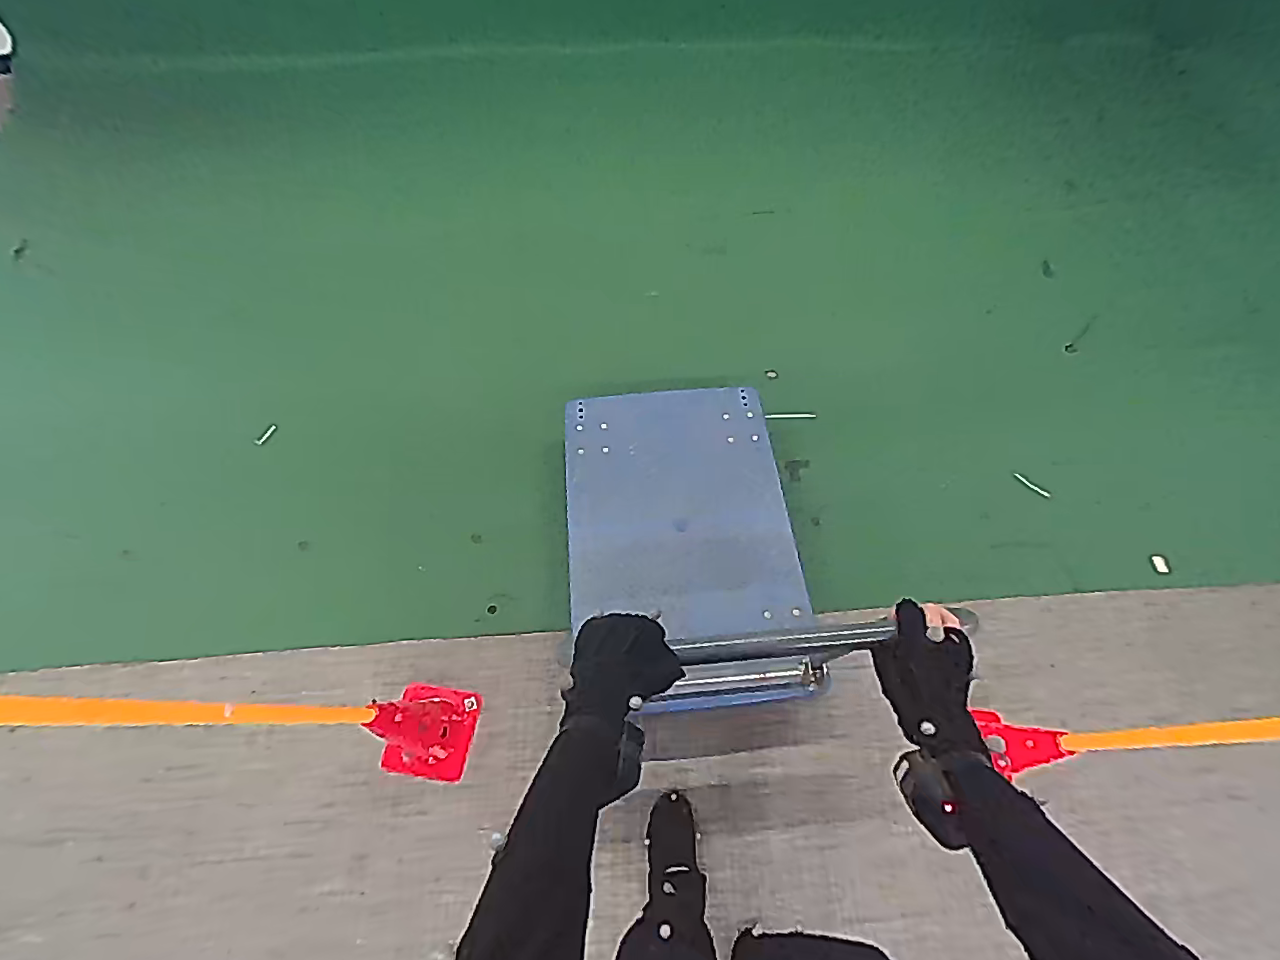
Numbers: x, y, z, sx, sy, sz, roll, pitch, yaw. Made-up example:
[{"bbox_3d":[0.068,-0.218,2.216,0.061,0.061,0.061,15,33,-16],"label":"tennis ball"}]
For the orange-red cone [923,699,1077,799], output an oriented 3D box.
[{"bbox_3d":[0.784,0.559,1.143,0.198,0.360,0.199,6,62,4],"label":"orange-red cone"}]
